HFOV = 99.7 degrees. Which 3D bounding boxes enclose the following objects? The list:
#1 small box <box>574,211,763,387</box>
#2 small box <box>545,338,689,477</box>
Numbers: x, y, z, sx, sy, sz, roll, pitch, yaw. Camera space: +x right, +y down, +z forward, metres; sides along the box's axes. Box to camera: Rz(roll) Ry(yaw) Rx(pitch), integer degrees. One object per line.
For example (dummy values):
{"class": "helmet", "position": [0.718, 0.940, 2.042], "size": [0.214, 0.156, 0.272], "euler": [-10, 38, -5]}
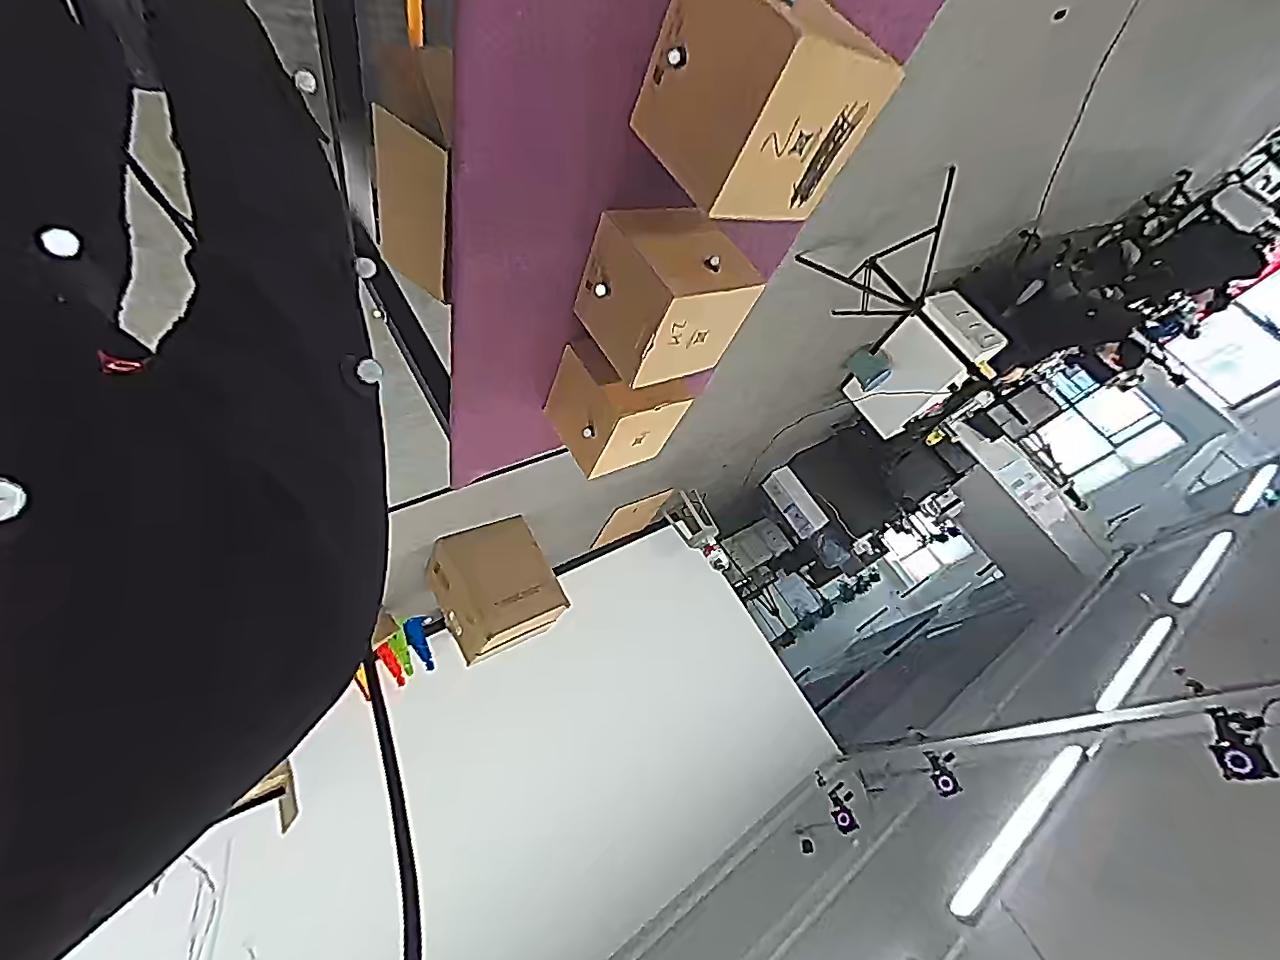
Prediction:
{"class": "small box", "position": [0.034, -0.264, 0.779], "size": [0.179, 0.176, 0.168], "euler": [-21, 157, -34]}
{"class": "small box", "position": [-0.049, -0.137, 0.966], "size": [0.168, 0.176, 0.179], "euler": [-21, 157, -36]}
